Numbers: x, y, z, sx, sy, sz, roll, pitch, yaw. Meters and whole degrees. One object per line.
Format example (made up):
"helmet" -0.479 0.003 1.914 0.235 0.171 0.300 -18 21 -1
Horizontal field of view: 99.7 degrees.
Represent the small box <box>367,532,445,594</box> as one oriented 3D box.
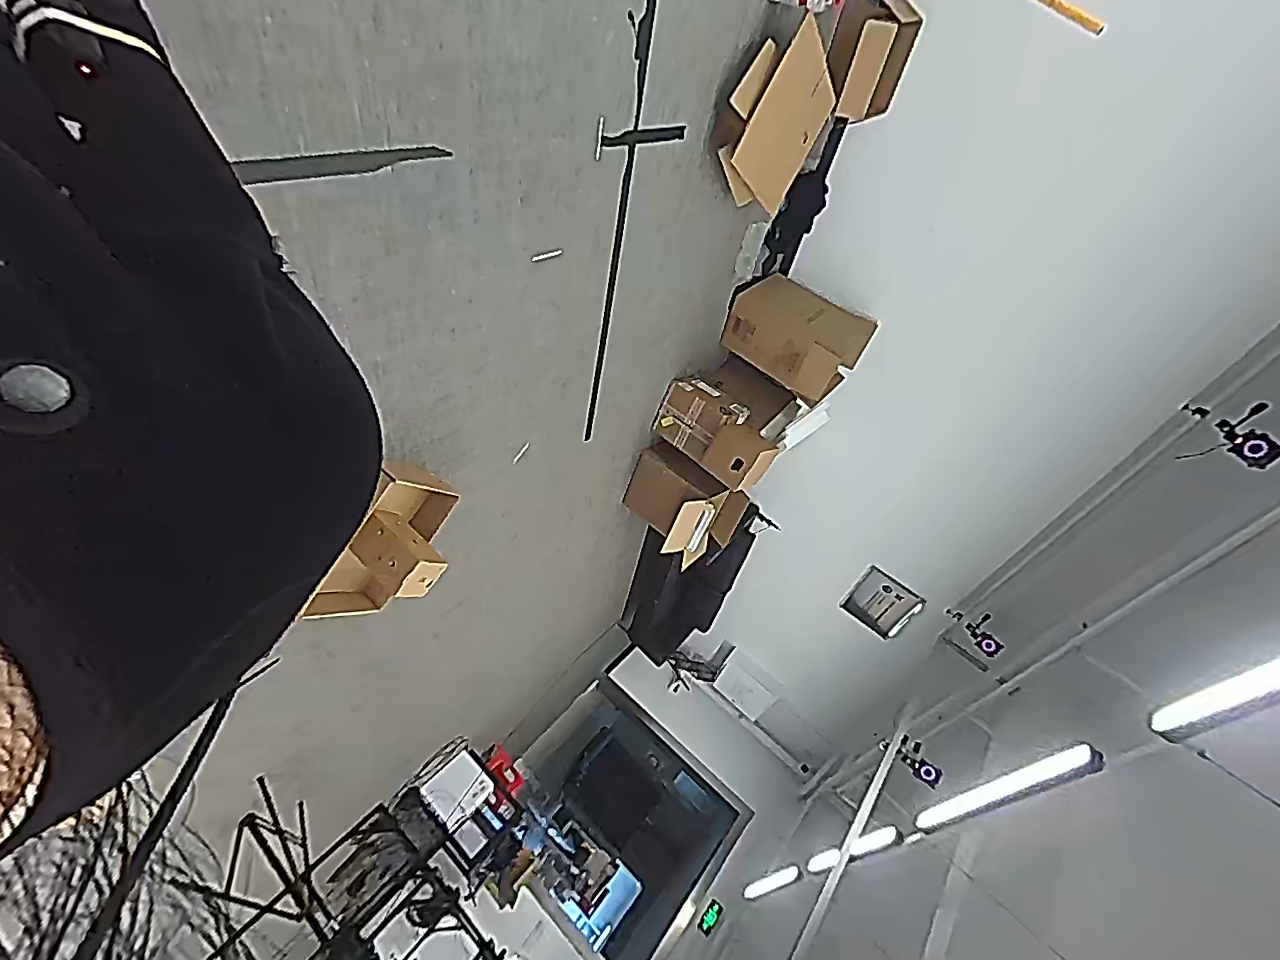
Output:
"small box" -0.892 0.316 2.061 0.168 0.176 0.179 -52 160 -1
